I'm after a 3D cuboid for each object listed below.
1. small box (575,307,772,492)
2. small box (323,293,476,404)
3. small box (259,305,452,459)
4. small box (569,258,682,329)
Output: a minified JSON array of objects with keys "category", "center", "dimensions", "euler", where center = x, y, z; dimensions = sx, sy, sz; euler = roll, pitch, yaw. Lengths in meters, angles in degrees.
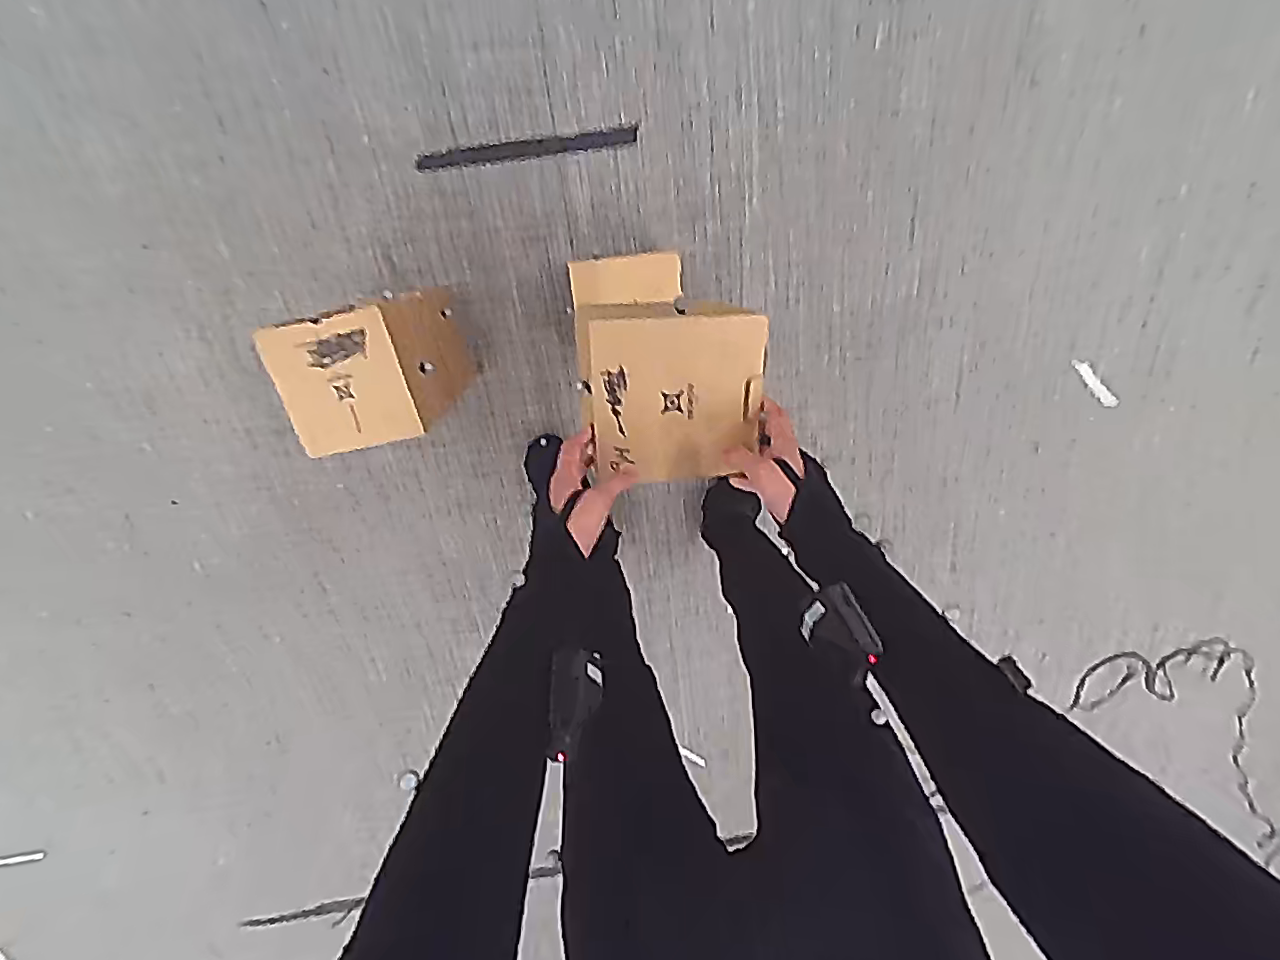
[{"category":"small box","center":[0.026,-0.100,0.603],"dimensions":[0.179,0.176,0.168],"euler":[-5,113,-10]},{"category":"small box","center":[-0.400,-0.219,0.931],"dimensions":[0.168,0.176,0.179],"euler":[-13,113,0]},{"category":"small box","center":[-0.392,-0.151,0.782],"dimensions":[0.168,0.176,0.179],"euler":[-11,114,0]},{"category":"small box","center":[-0.025,-0.291,0.939],"dimensions":[0.179,0.176,0.168],"euler":[-7,113,-4]}]
